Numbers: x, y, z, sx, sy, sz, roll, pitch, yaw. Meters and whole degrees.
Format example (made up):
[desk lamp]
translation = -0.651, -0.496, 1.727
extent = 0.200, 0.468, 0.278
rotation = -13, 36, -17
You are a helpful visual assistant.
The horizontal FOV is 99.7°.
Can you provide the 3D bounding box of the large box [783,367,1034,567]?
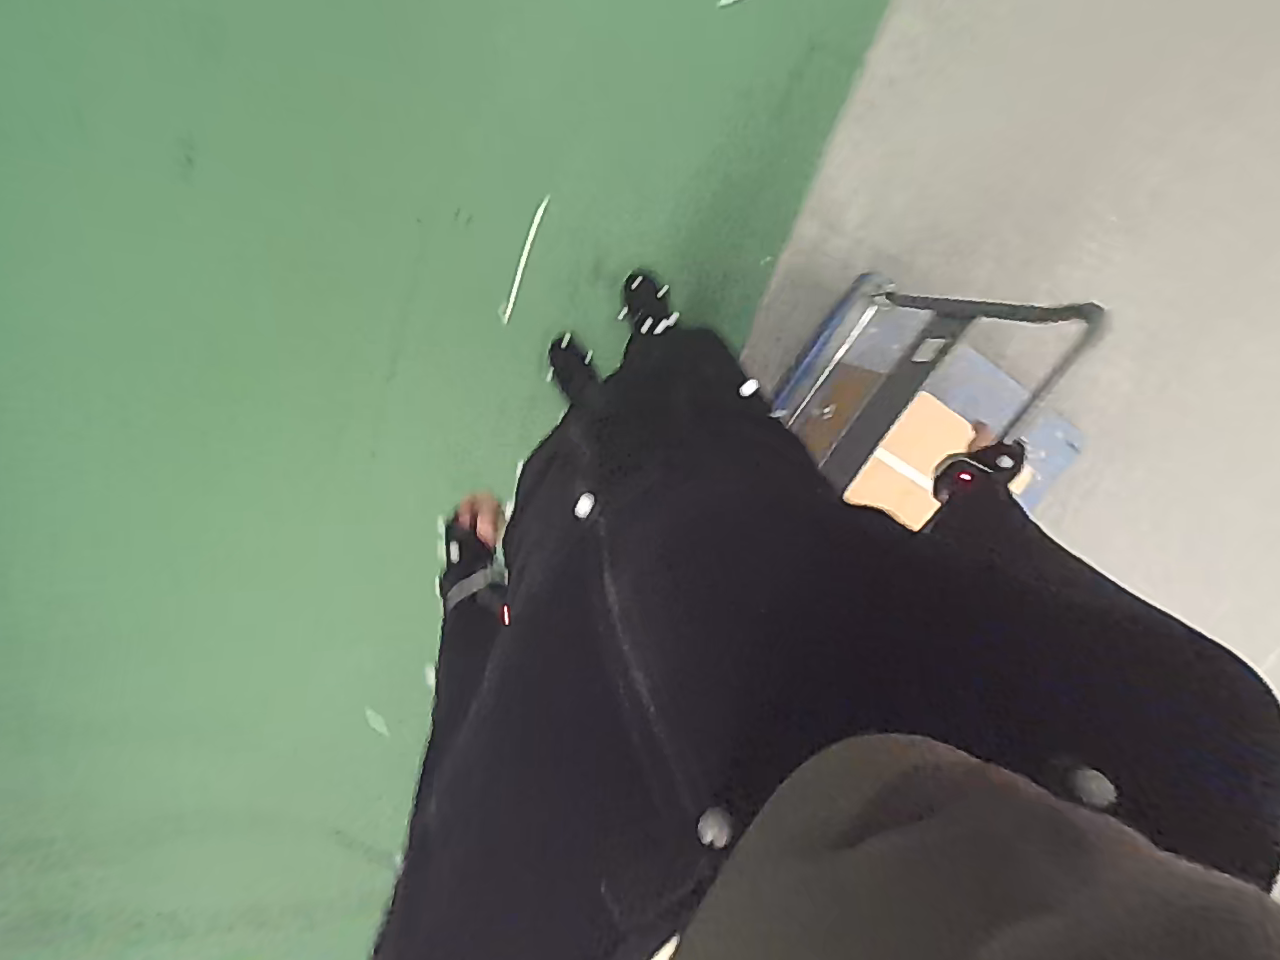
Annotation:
[large box]
translation = 0.648, -0.046, 1.372
extent = 0.408, 0.320, 0.320
rotation = 28, 104, -14
